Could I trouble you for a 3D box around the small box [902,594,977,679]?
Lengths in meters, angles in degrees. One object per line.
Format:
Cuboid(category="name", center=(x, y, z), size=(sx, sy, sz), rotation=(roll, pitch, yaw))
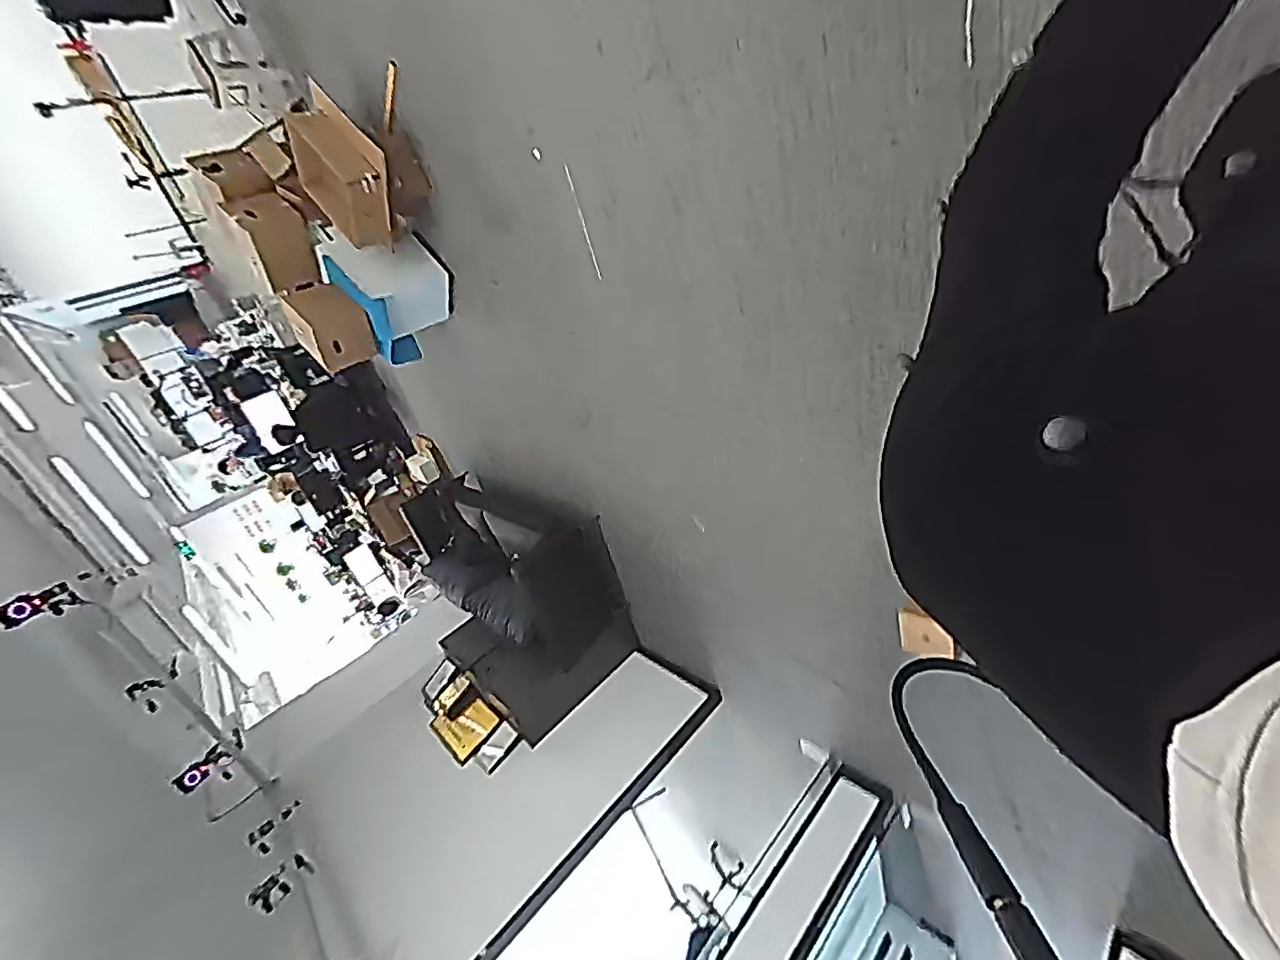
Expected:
Cuboid(category="small box", center=(0.976, 0.499, 1.757), size=(0.168, 0.176, 0.179), rotation=(12, 128, 48))
